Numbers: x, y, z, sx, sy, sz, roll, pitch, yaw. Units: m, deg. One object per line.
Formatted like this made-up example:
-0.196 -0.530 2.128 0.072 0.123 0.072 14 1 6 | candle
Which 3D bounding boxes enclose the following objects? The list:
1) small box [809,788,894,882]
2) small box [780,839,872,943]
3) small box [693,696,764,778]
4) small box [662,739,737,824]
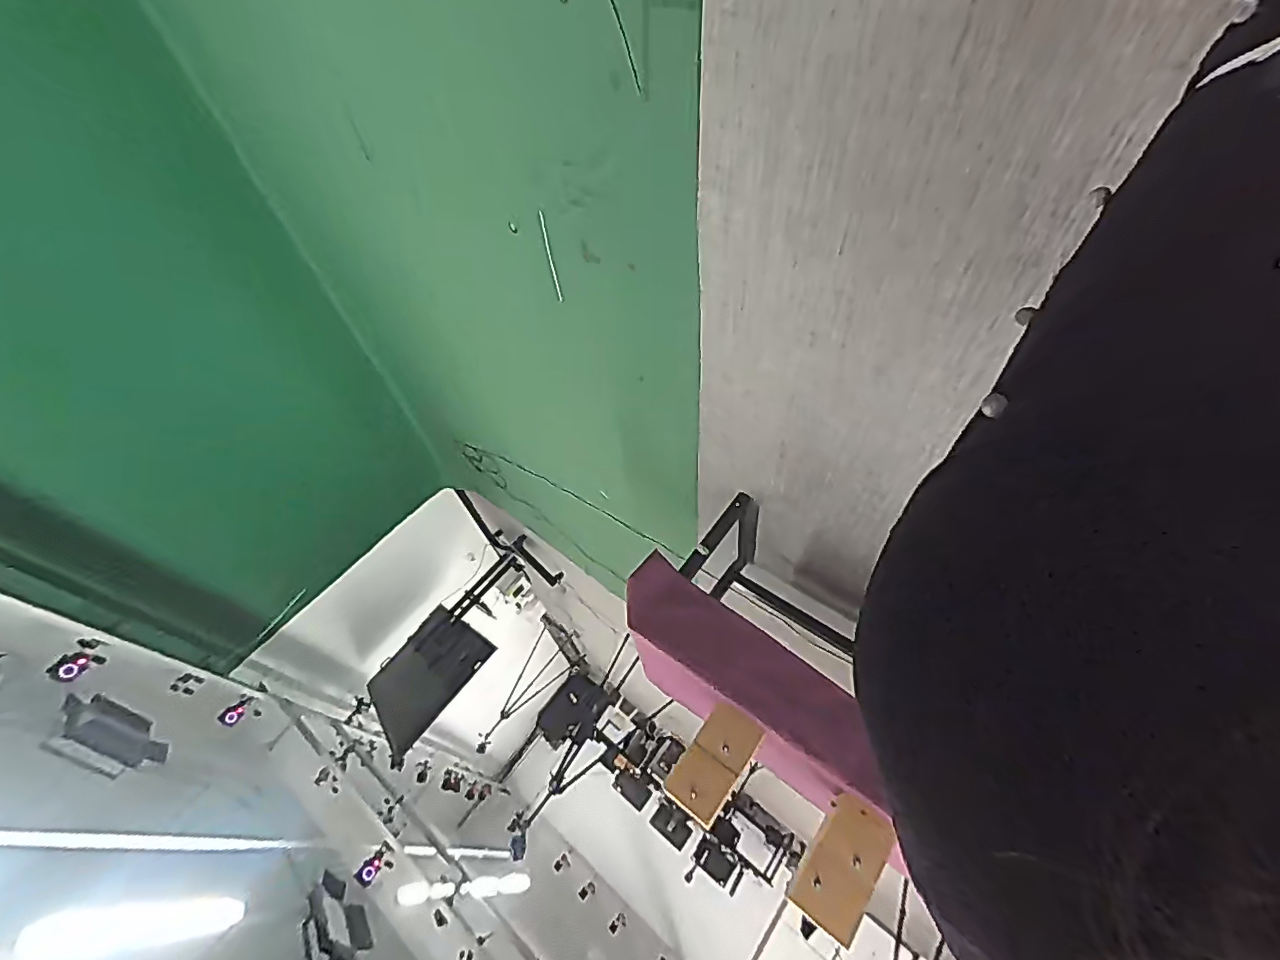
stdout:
0.634 1.058 1.620 0.168 0.176 0.179 31 154 24 | small box
0.532 1.168 1.555 0.179 0.176 0.168 31 154 23 | small box
0.296 0.855 1.805 0.179 0.176 0.168 31 154 26 | small box
0.192 0.963 1.741 0.179 0.176 0.168 29 153 26 | small box
